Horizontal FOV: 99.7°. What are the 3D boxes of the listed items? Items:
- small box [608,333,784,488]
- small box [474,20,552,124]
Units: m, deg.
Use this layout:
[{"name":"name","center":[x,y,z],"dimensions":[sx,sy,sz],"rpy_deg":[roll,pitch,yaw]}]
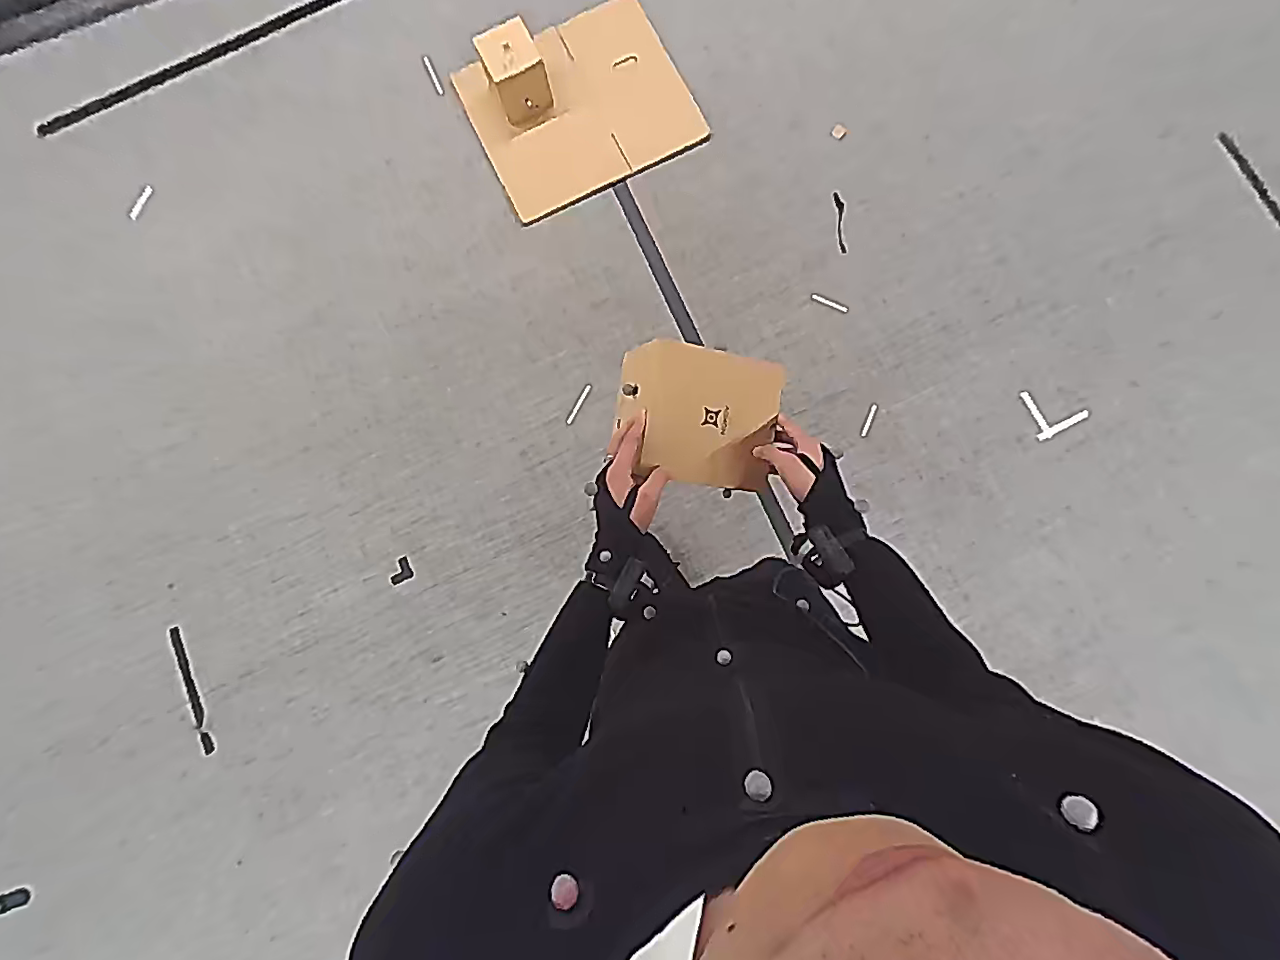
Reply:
[{"name":"small box","center":[0.063,-0.088,0.731],"dimensions":[0.179,0.176,0.168],"rpy_deg":[7,94,-18]},{"name":"small box","center":[-0.403,-1.305,1.739],"dimensions":[0.168,0.176,0.179],"rpy_deg":[-27,83,0]}]
